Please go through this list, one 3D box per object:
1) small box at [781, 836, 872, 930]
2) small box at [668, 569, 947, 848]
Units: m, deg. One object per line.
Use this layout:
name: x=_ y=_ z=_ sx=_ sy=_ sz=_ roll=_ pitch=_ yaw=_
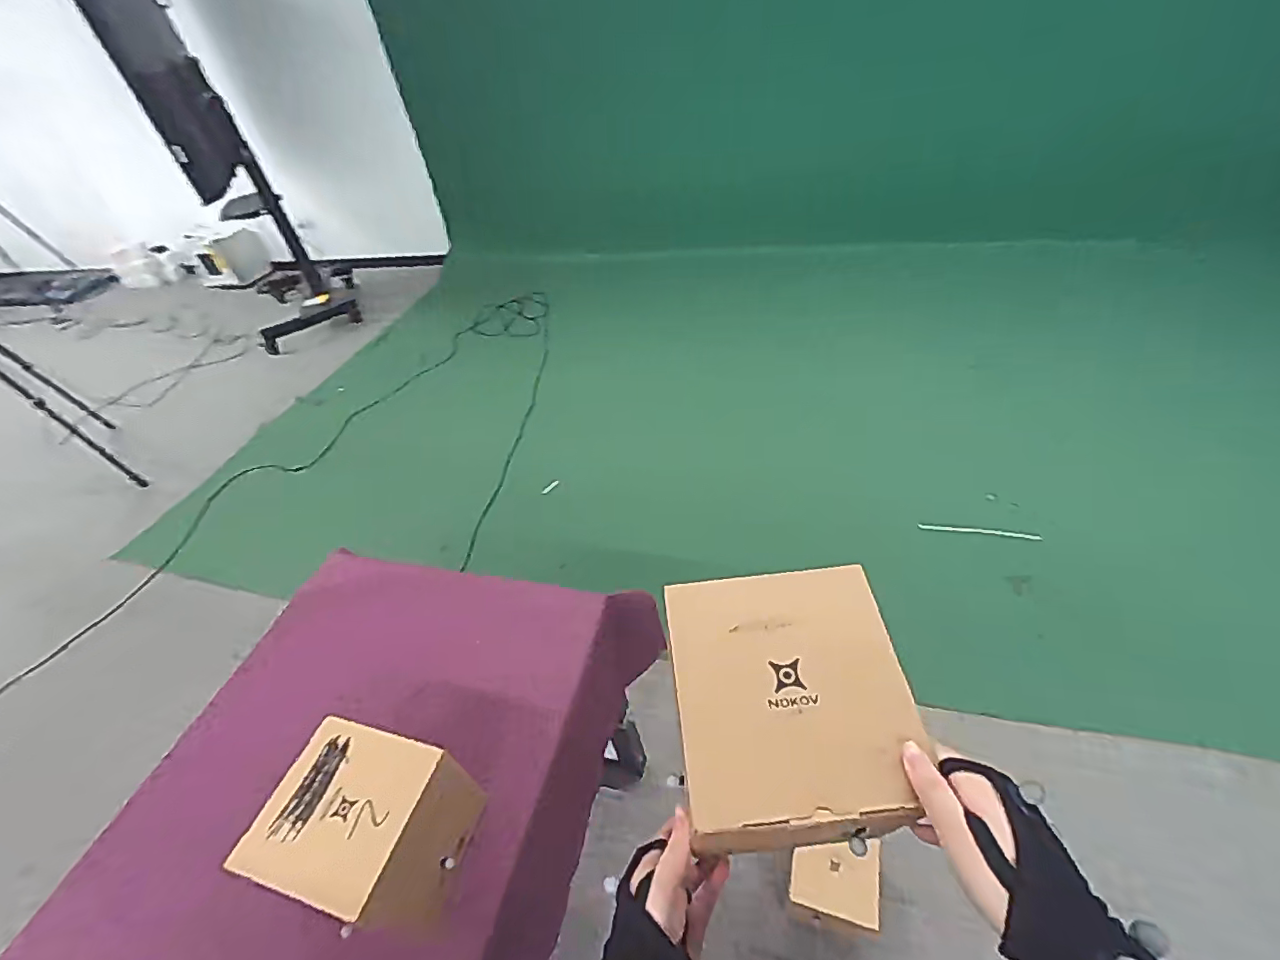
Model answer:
small box: x=0.398 y=0.827 z=1.161 sx=0.168 sy=0.176 sz=0.179 roll=8 pitch=45 yaw=17
small box: x=0.116 y=0.198 z=0.455 sx=0.168 sy=0.176 sz=0.179 roll=-6 pitch=51 yaw=0
